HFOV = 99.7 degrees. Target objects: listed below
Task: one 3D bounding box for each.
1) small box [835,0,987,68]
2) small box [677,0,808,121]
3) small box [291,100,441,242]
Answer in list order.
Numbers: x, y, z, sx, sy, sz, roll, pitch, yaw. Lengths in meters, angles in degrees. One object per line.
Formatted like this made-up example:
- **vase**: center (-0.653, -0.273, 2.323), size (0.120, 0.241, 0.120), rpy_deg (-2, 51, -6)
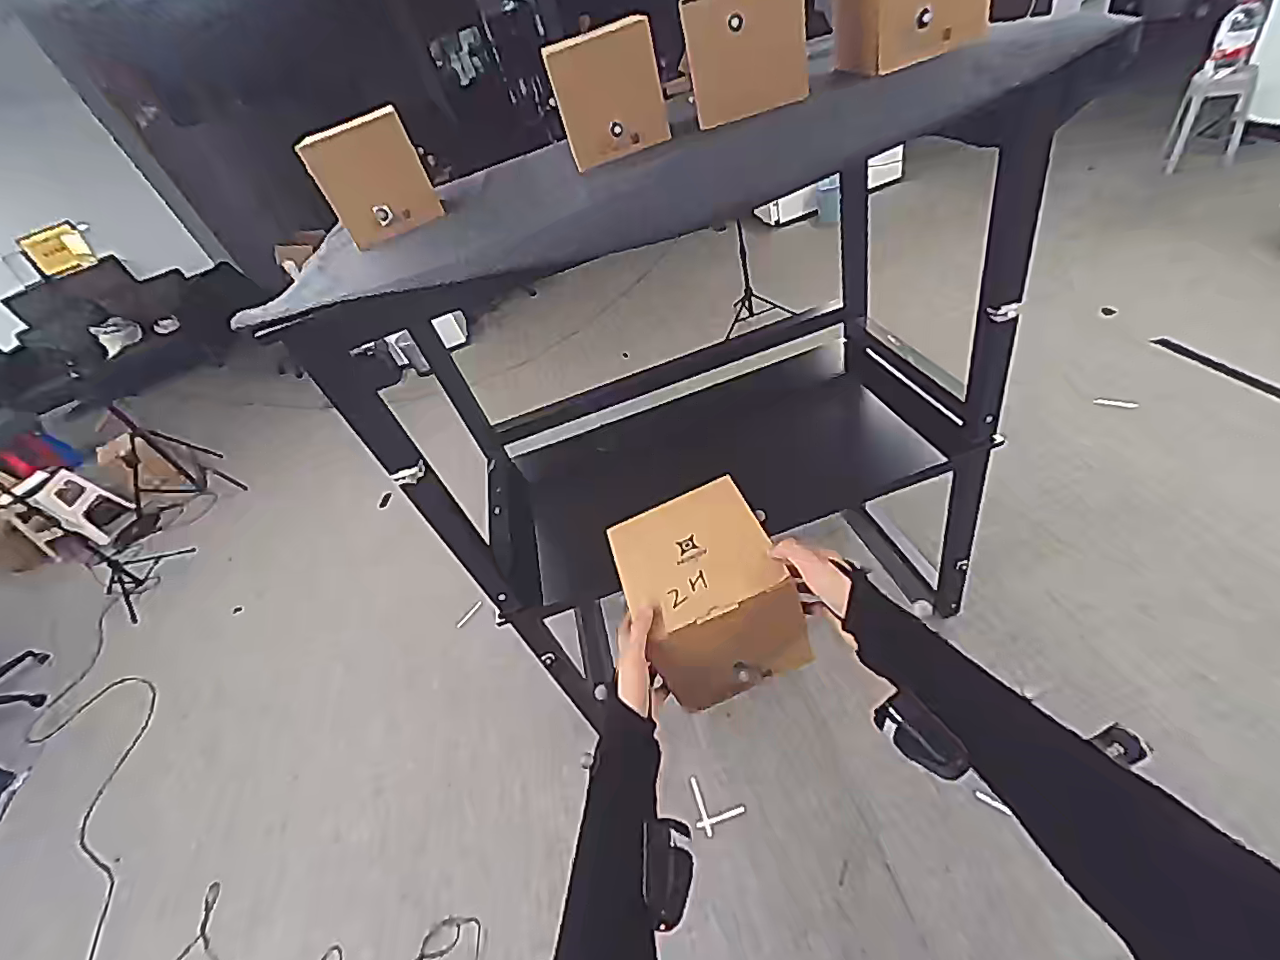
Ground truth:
- **small box**: center (0.405, -0.756, 0.824), size (0.168, 0.176, 0.179), rpy_deg (-17, 41, 5)
- **small box**: center (0.163, -0.705, 0.867), size (0.179, 0.176, 0.168), rpy_deg (-9, 42, 13)
- **small box**: center (-0.471, -0.541, 0.952), size (0.168, 0.176, 0.179), rpy_deg (-27, 42, -6)
